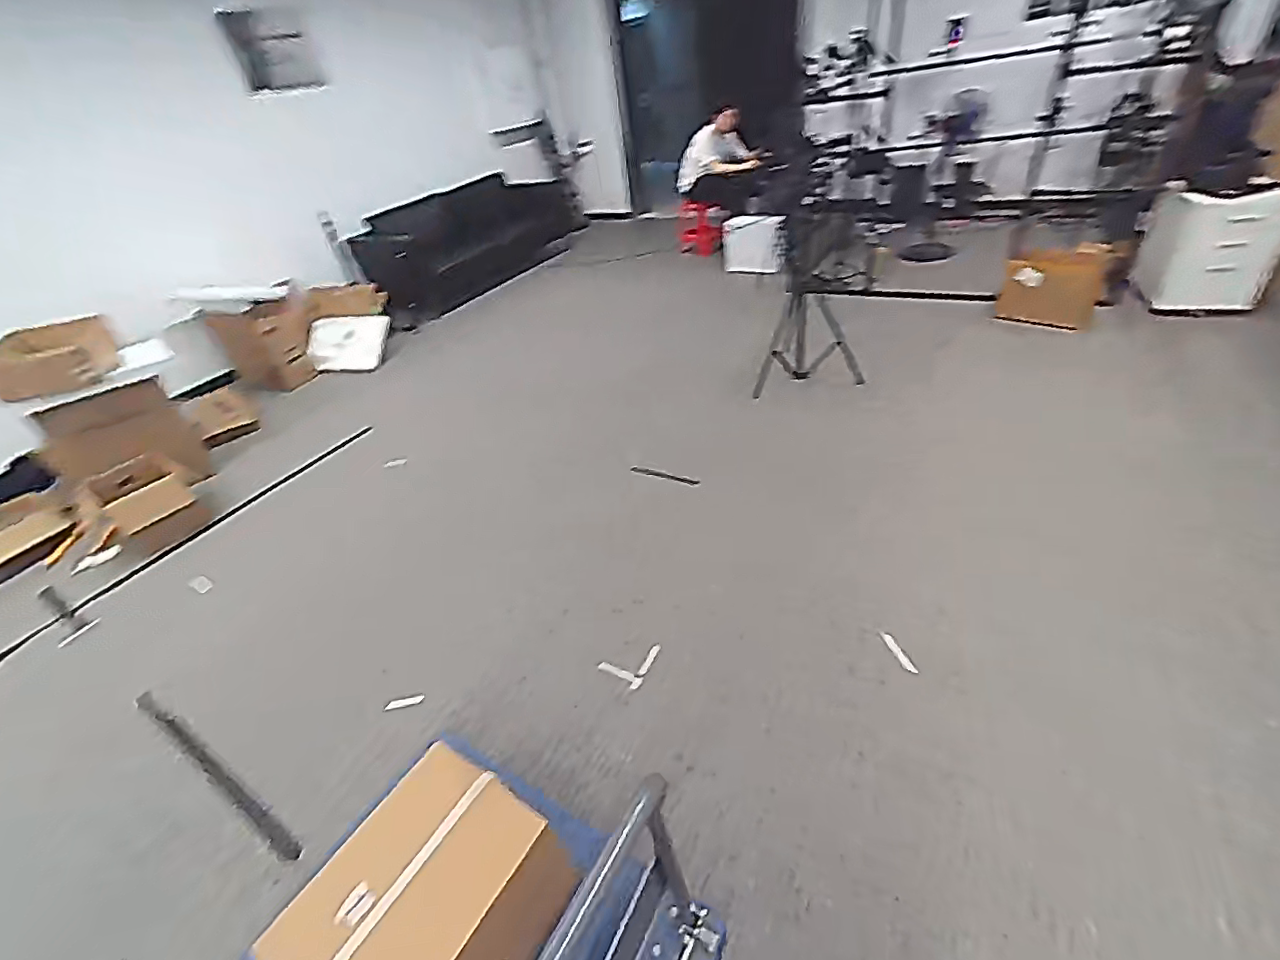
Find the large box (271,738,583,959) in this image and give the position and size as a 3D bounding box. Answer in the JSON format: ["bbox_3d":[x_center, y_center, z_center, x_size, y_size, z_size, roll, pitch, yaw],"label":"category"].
[{"bbox_3d":[-0.367,0.809,1.038,0.320,0.320,0.408,16,45,31],"label":"large box"}]
